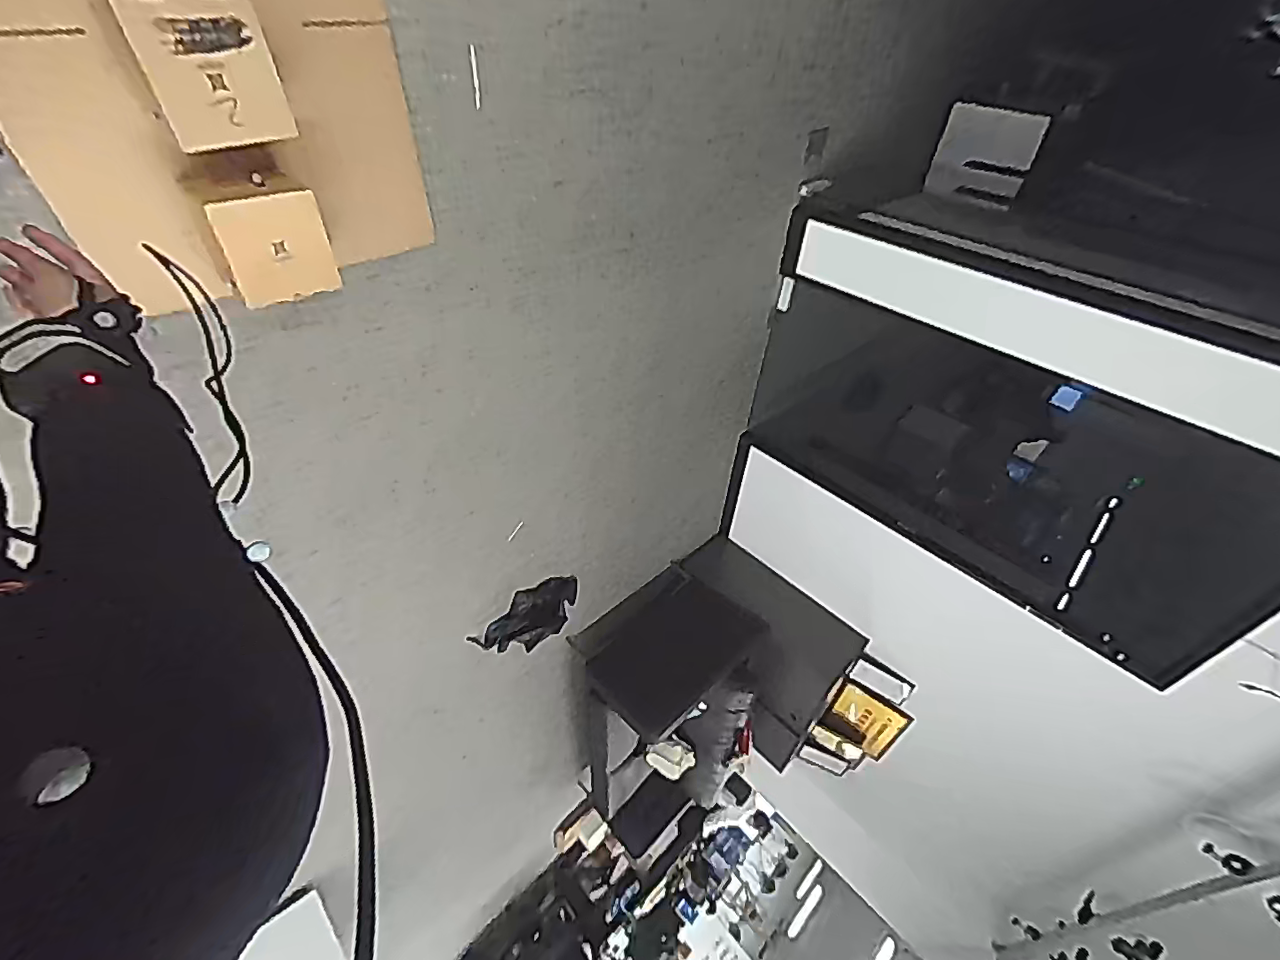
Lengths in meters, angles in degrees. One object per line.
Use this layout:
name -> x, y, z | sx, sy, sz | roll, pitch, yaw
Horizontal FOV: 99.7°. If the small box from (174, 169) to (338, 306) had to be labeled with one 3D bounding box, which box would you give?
small box -> -0.684, -0.443, 0.970 | 0.168, 0.176, 0.179 | -32, 144, -33
